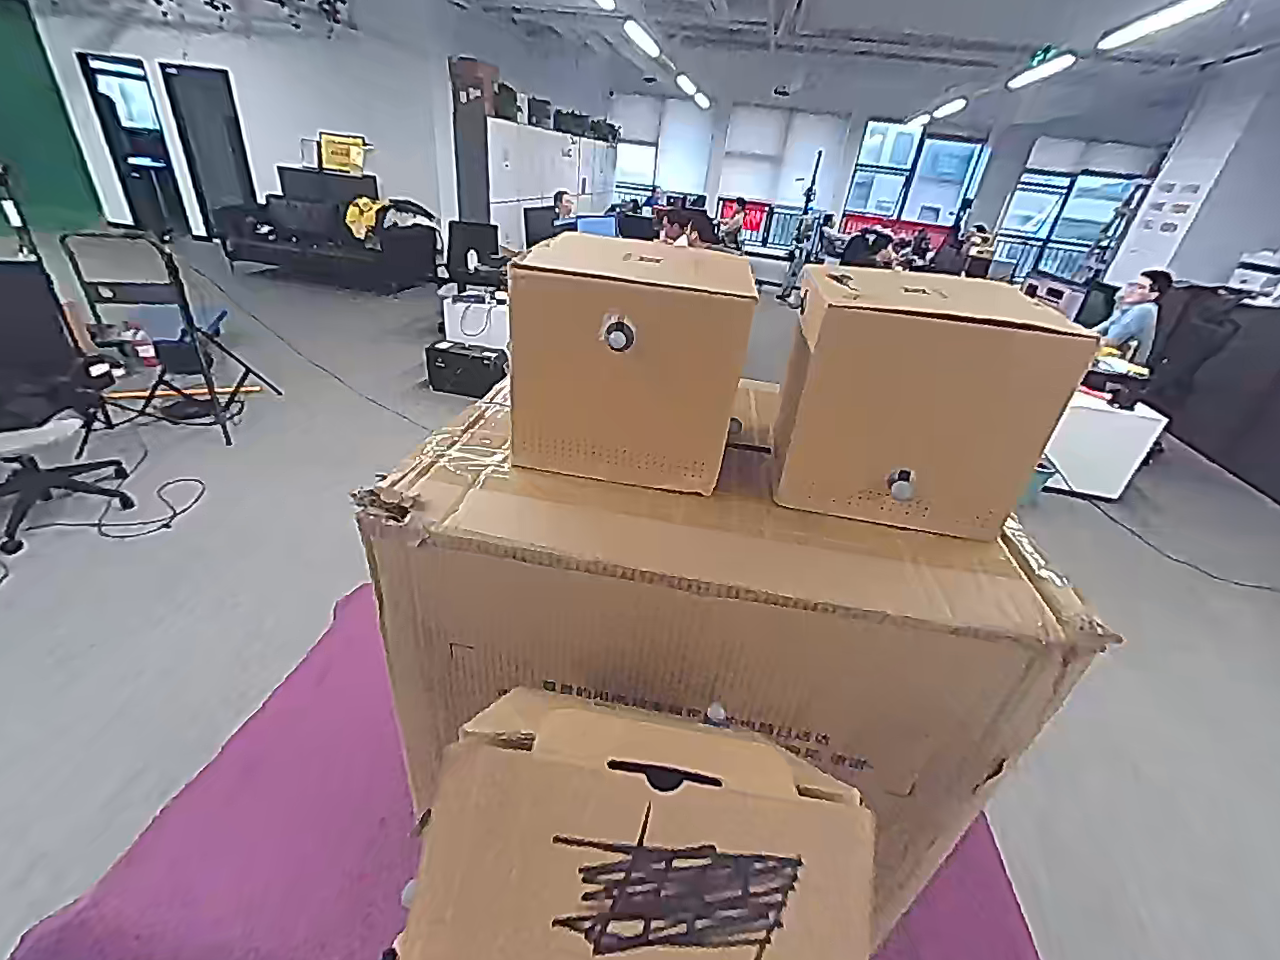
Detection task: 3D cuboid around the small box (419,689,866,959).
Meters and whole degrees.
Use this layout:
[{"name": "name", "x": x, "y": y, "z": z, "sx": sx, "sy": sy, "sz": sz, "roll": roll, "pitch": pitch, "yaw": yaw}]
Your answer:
[{"name": "small box", "x": -0.008, "y": 0.211, "z": 0.271, "sx": 0.168, "sy": 0.176, "sz": 0.179, "roll": 11, "pitch": 72, "yaw": -2}]

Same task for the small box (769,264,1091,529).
[{"name": "small box", "x": 0.218, "y": -0.076, "z": 0.468, "sx": 0.179, "sy": 0.176, "sz": 0.168, "roll": 10, "pitch": 30, "yaw": 7}]
